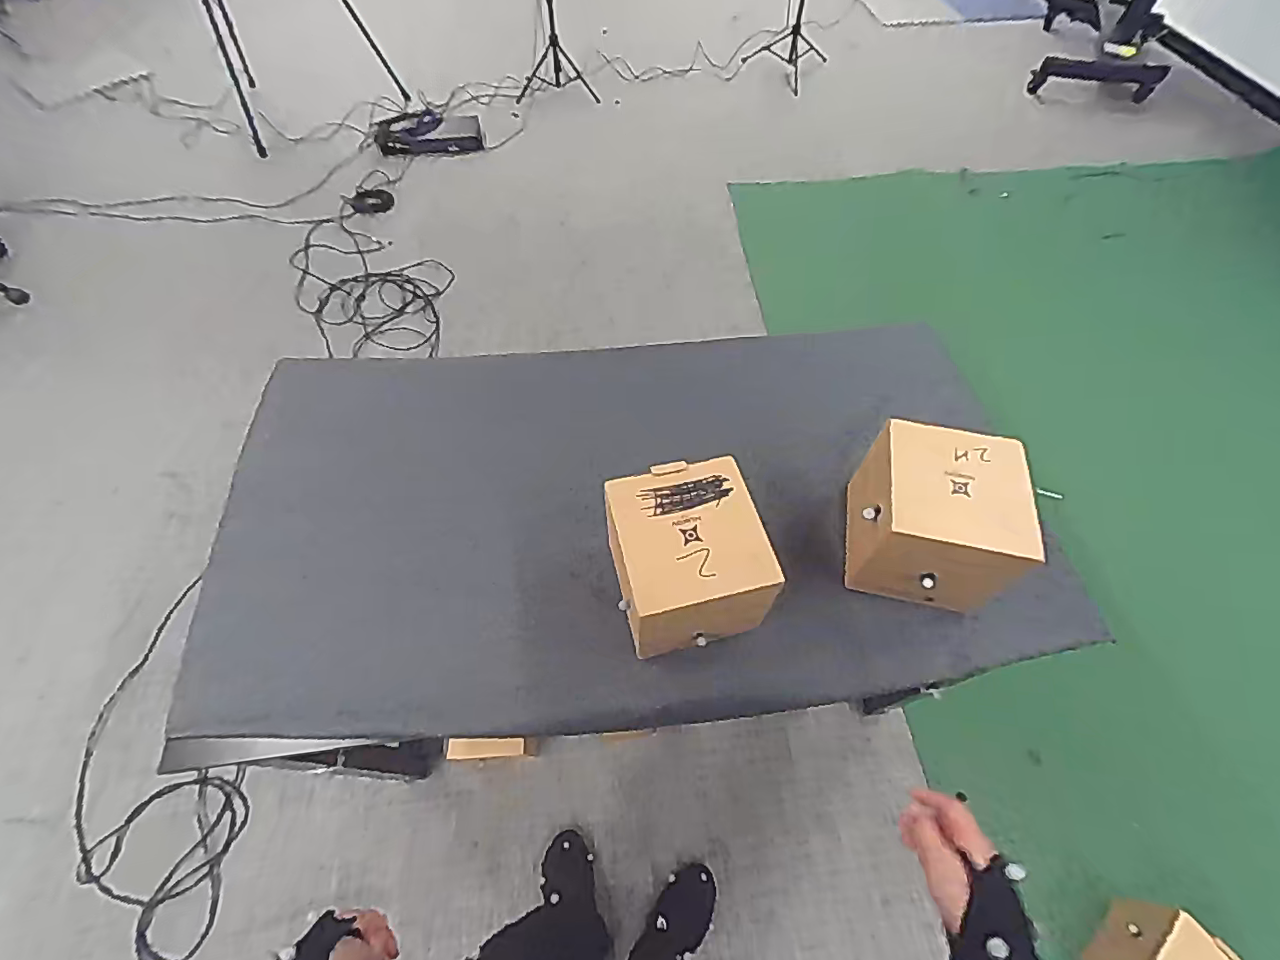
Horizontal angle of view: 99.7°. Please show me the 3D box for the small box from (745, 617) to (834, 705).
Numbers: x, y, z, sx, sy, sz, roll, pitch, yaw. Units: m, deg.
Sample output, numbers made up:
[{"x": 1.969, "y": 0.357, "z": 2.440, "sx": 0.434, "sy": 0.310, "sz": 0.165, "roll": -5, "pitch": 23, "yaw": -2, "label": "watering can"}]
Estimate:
[{"x": 0.356, "y": 0.447, "z": 1.324, "sx": 0.179, "sy": 0.176, "sz": 0.168, "roll": 6, "pitch": 59, "yaw": 1, "label": "small box"}]

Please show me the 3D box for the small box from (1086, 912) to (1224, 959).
[{"x": 0.997, "y": 0.964, "z": 1.017, "sx": 0.179, "sy": 0.176, "sz": 0.168, "roll": -34, "pitch": 65, "yaw": -20, "label": "small box"}]

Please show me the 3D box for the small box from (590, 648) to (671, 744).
[{"x": -0.023, "y": 0.516, "z": 1.279, "sx": 0.168, "sy": 0.176, "sz": 0.179, "roll": -8, "pitch": 58, "yaw": -6, "label": "small box"}]

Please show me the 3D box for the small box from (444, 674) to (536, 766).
[{"x": -0.337, "y": 0.561, "z": 1.252, "sx": 0.168, "sy": 0.176, "sz": 0.179, "roll": -3, "pitch": 58, "yaw": -2, "label": "small box"}]

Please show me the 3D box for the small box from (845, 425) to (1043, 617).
[{"x": 0.377, "y": 0.059, "z": 0.705, "sx": 0.168, "sy": 0.176, "sz": 0.179, "roll": 12, "pitch": 57, "yaw": 7, "label": "small box"}]
